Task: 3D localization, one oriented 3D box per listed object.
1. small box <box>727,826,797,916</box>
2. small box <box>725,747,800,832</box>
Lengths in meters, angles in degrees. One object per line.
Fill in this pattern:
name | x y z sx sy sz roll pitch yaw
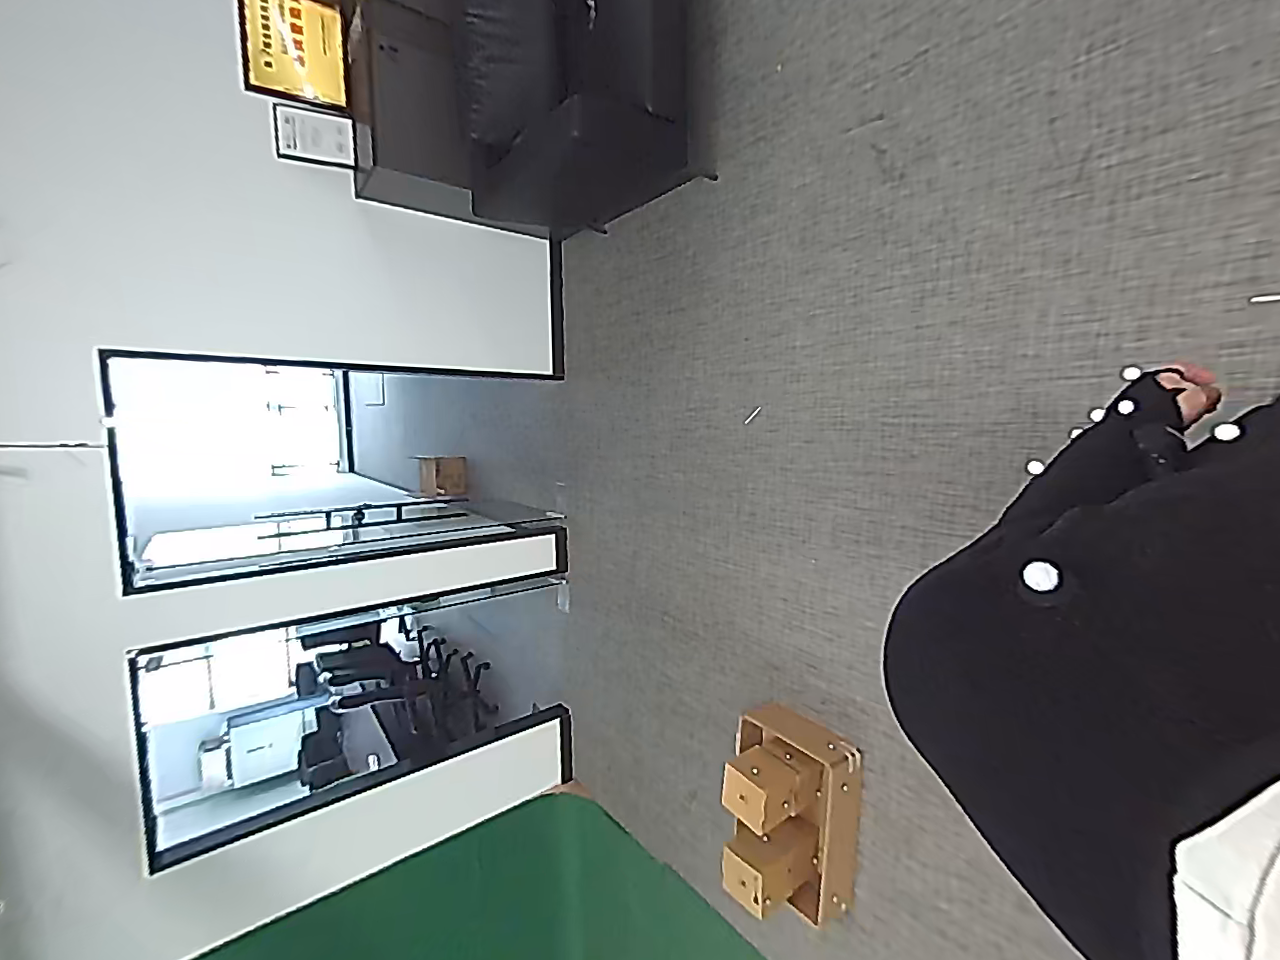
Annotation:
small box | 0.424 1.349 1.888 0.179 0.176 0.168 6 99 52
small box | 0.420 1.050 1.859 0.179 0.176 0.168 15 106 49
